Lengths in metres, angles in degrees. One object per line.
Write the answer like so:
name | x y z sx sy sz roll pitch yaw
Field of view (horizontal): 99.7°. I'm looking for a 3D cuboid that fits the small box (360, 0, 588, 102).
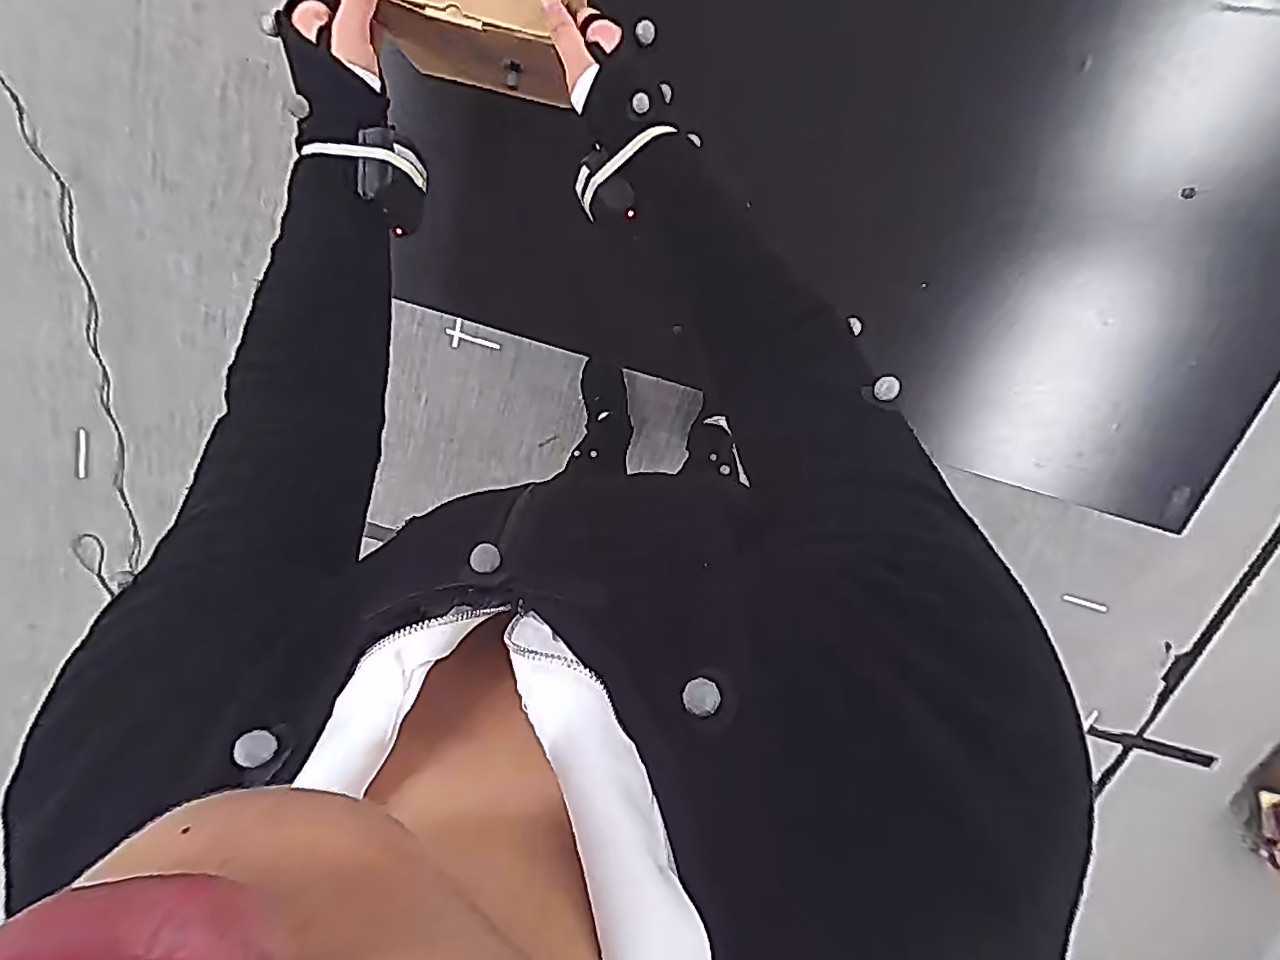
small box | -0.130 -0.466 0.470 0.168 0.176 0.179 10 107 -7
